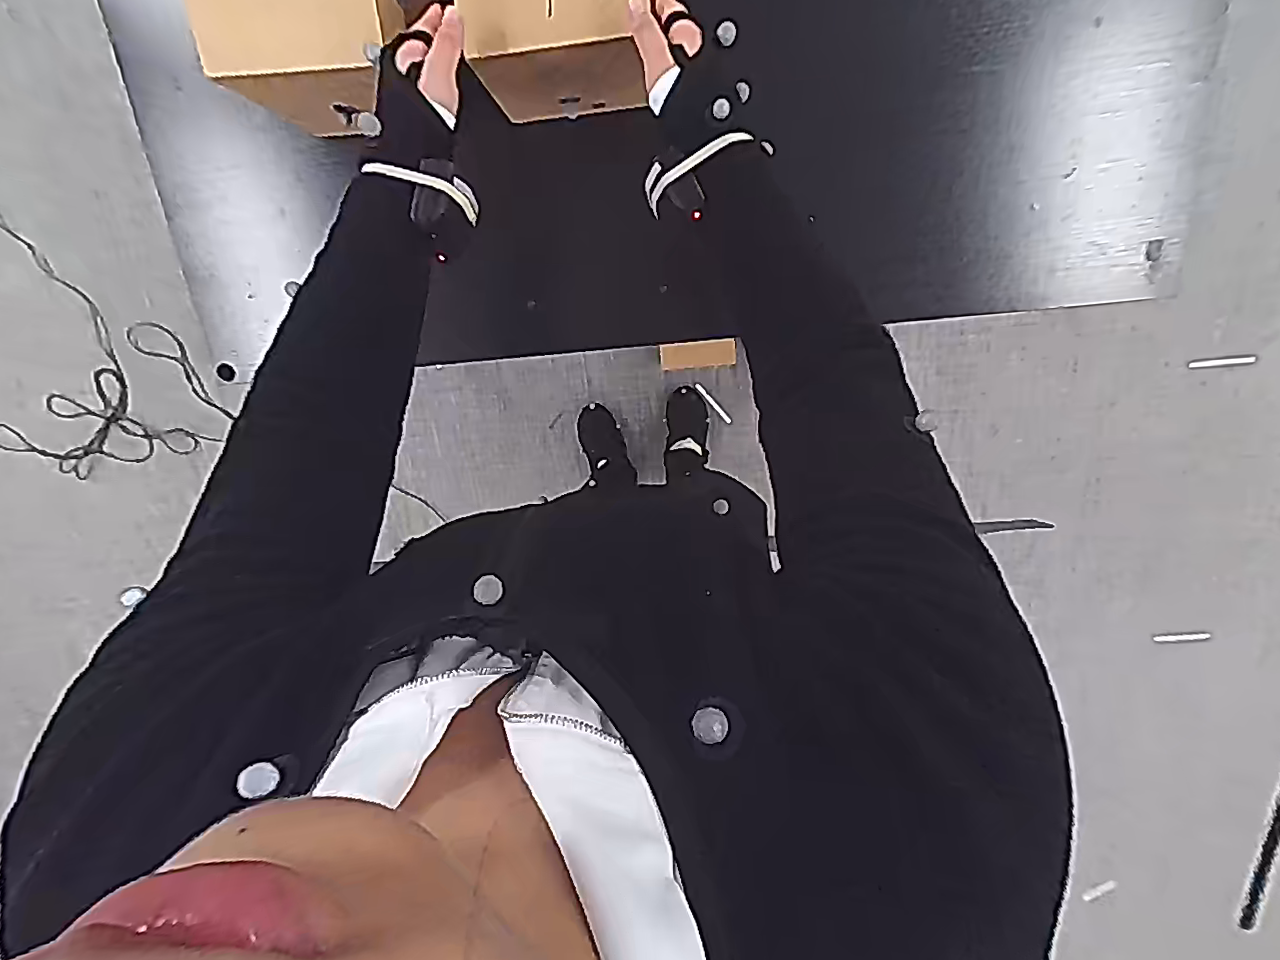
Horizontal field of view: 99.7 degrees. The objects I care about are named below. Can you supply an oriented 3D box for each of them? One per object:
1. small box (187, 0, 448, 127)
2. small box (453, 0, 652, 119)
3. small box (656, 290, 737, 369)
[{"bbox_3d":[-0.301,-0.464,0.524,0.168,0.176,0.179,-2,107,2],"label":"small box"},{"bbox_3d":[-0.077,-0.478,0.512,0.168,0.176,0.179,-5,107,4],"label":"small box"},{"bbox_3d":[0.131,-0.363,1.301,0.179,0.176,0.168,-5,106,5],"label":"small box"}]
